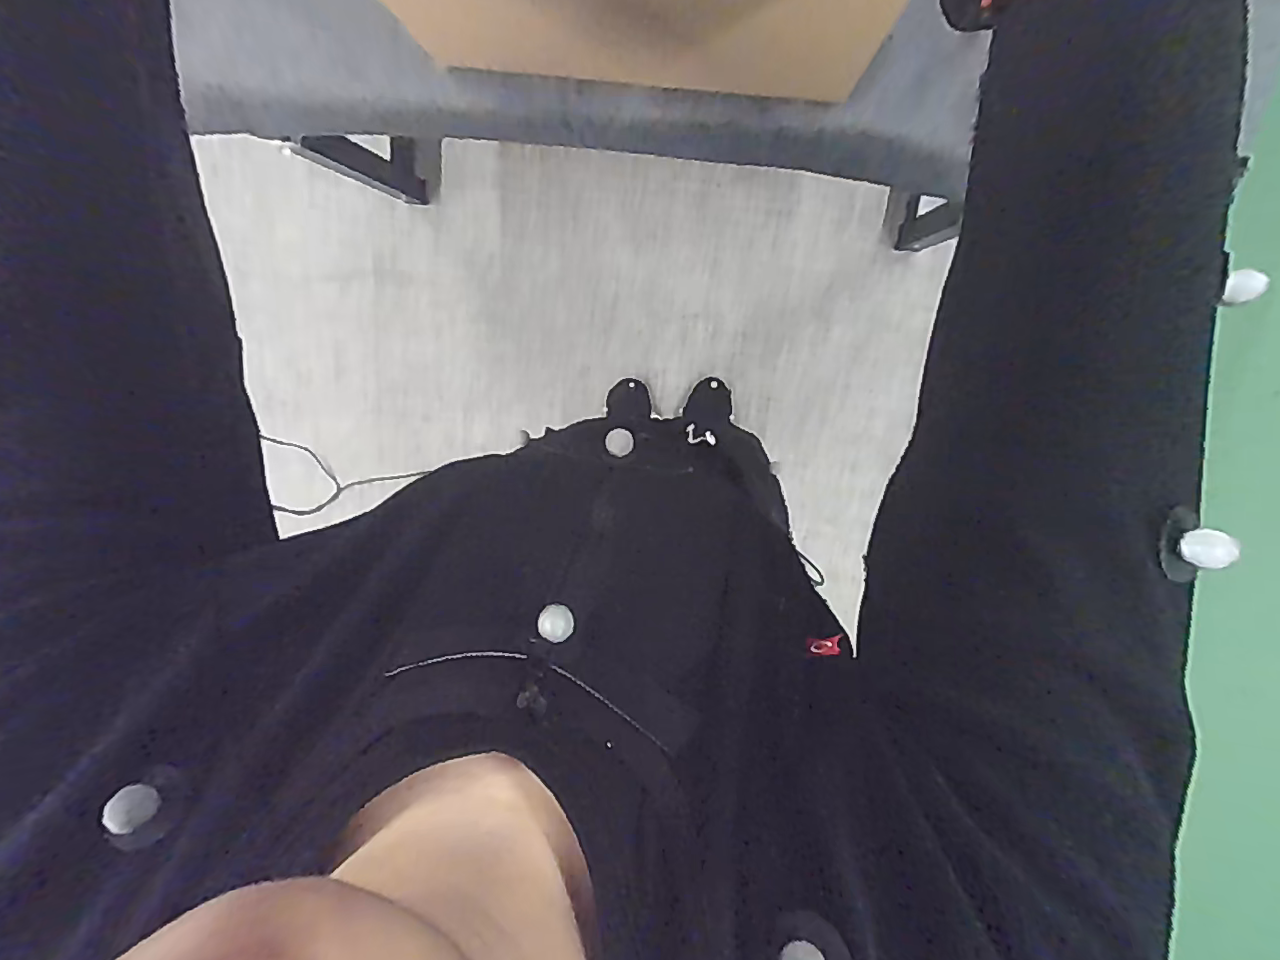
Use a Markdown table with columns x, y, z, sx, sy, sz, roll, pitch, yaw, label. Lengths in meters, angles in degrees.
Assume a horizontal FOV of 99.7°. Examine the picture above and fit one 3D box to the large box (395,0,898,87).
| x | y | z | sx | sy | sz | roll | pitch | yaw | label |
| --- | --- | --- | --- | --- | --- | --- | --- | --- | --- |
| 0.002 | -0.504 | 0.346 | 0.408 | 0.320 | 0.320 | 7 | 105 | 2 | large box |
